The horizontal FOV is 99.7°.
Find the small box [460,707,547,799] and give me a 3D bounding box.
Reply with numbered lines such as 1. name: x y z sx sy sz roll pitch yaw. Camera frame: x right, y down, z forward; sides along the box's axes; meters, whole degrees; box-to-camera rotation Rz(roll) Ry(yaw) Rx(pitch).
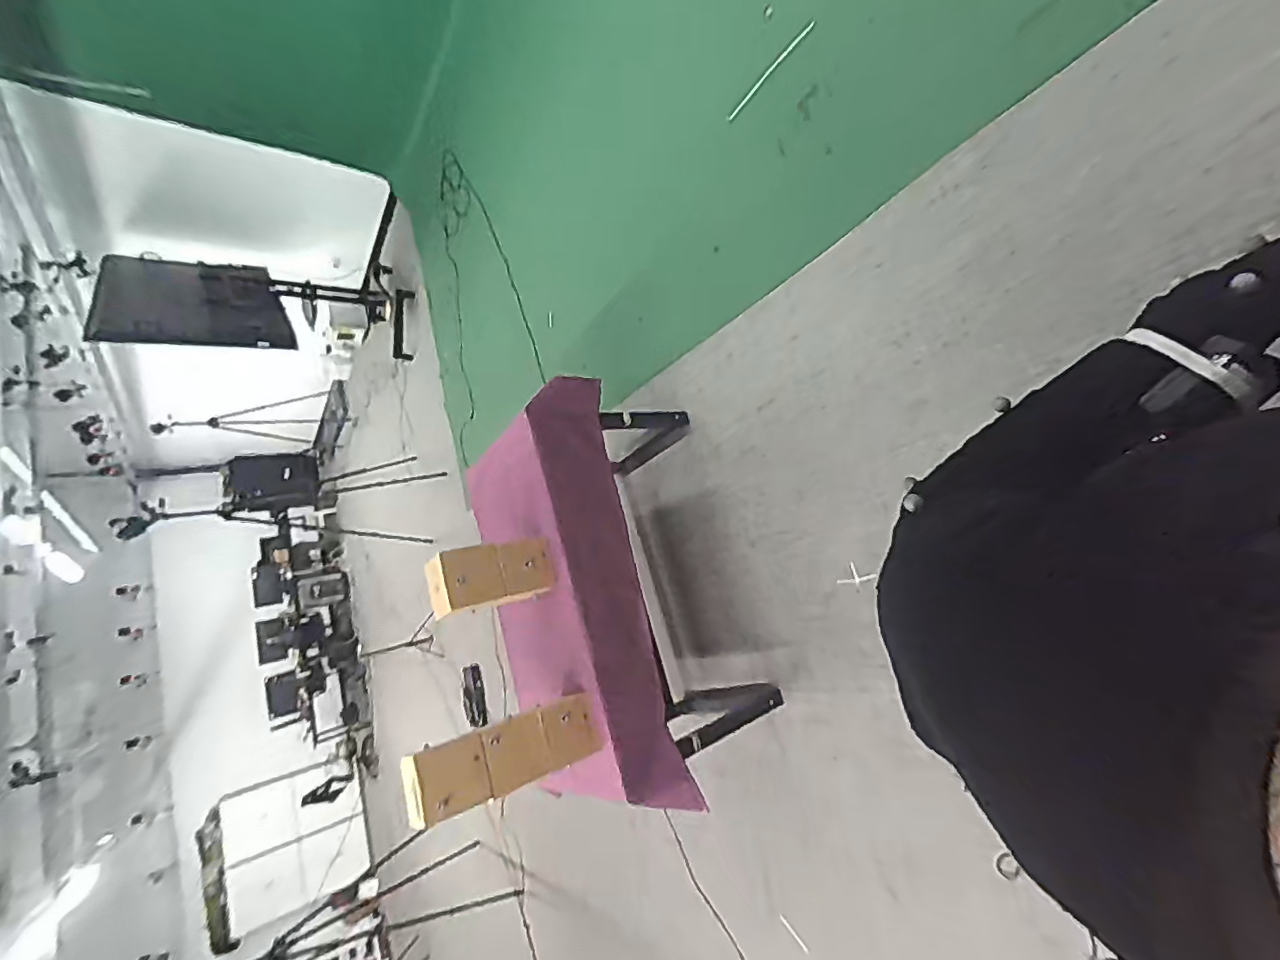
1. small box: -0.373 0.748 1.489 0.168 0.176 0.179 -37 65 47

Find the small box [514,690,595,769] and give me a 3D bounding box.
1. small box: -0.248 0.729 1.591 0.179 0.176 0.168 -34 68 49

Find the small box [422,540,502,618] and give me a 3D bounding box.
1. small box: -0.529 0.293 1.608 0.168 0.176 0.179 -33 70 48

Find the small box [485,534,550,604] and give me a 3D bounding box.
1. small box: -0.401 0.280 1.713 0.179 0.176 0.168 -31 71 48
